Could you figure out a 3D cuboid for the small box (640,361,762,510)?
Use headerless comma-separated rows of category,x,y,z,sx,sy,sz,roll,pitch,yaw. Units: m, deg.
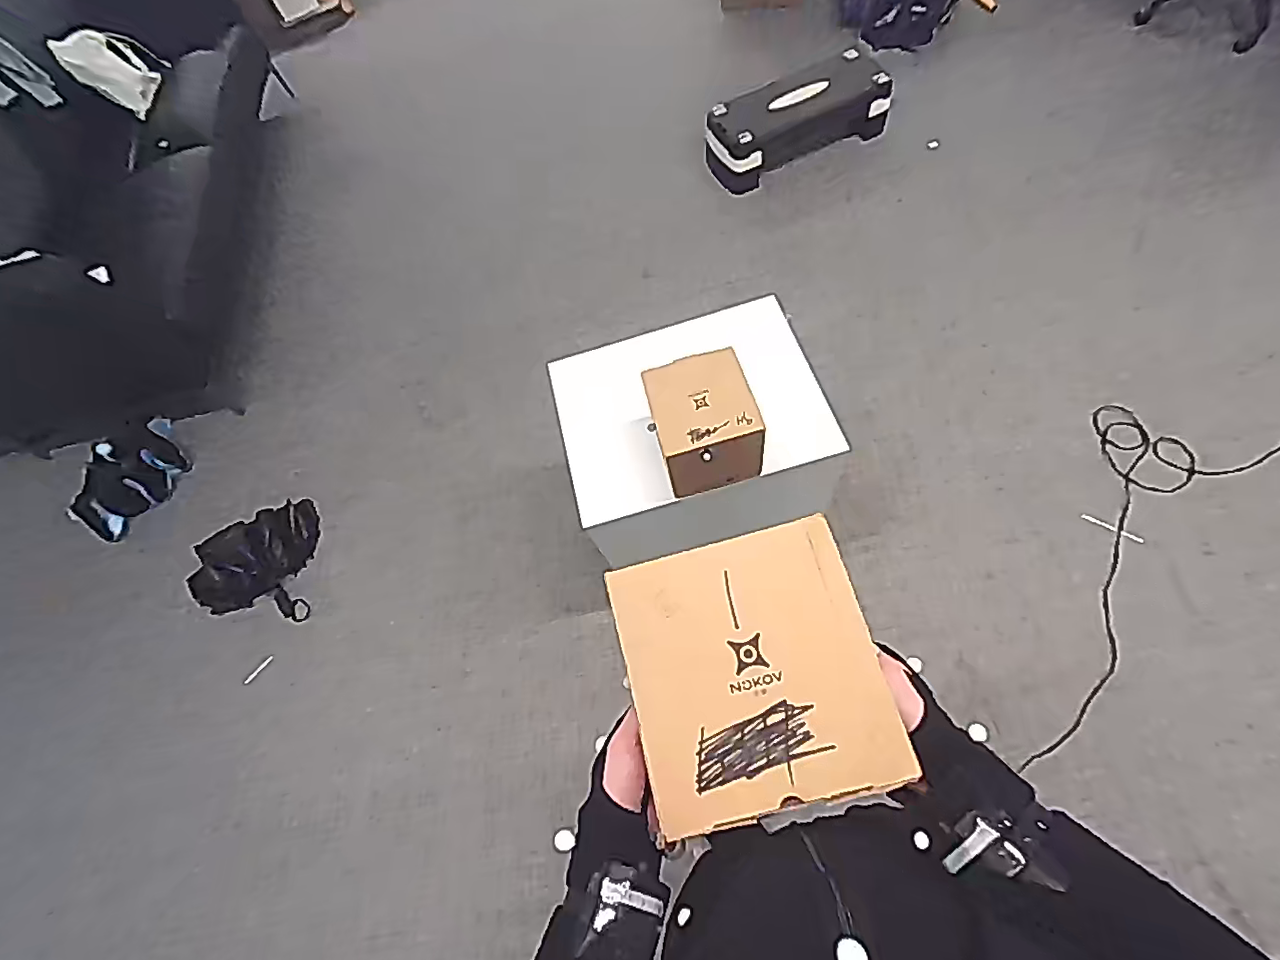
small box,0.106,-0.073,0.954,0.168,0.176,0.179,-17,60,1
